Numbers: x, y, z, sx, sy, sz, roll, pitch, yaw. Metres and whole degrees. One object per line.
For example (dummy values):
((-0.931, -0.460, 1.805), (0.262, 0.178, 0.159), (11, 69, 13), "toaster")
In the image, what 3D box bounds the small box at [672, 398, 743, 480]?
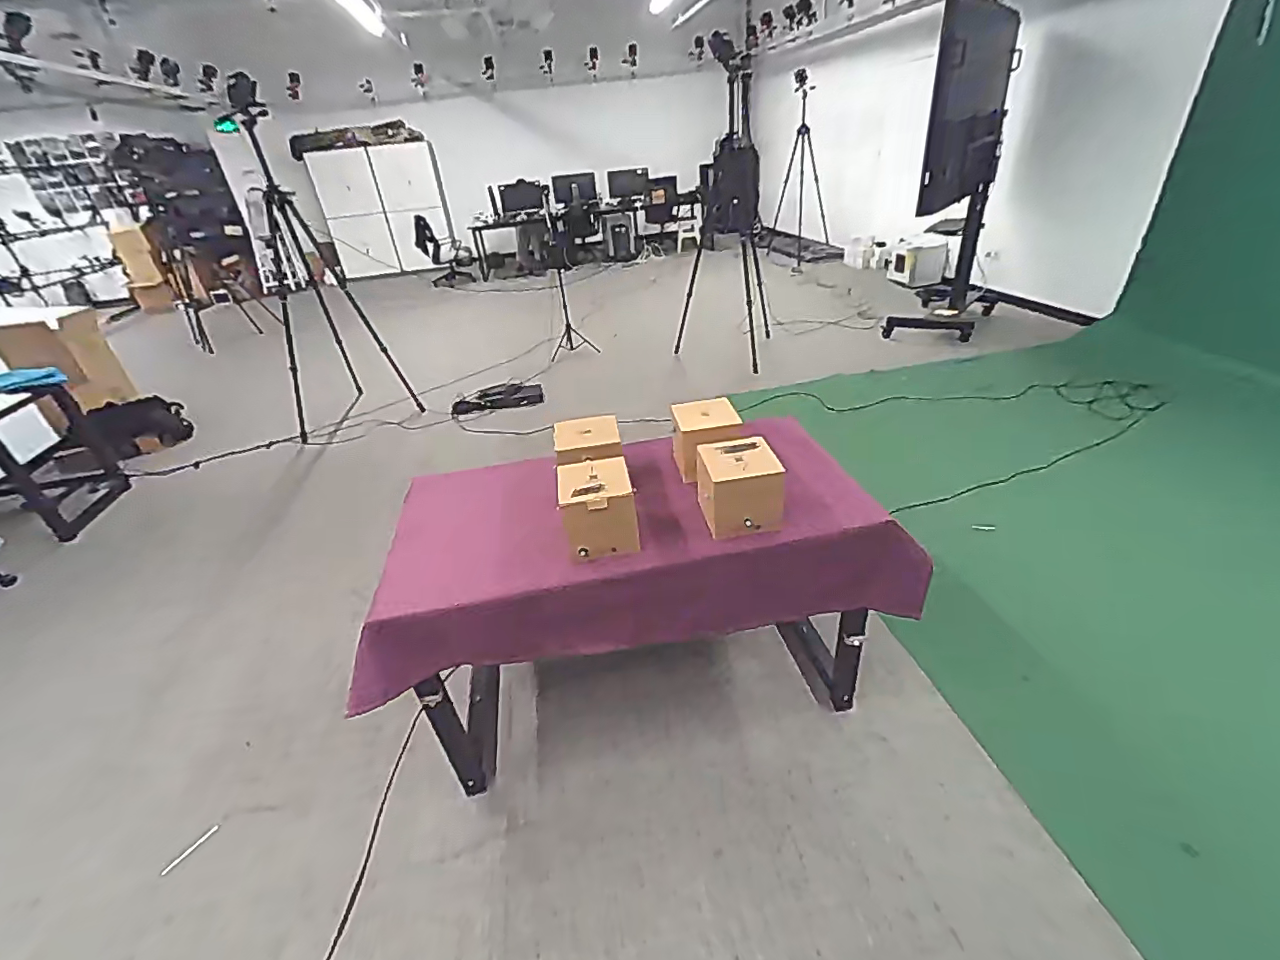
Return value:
((0.191, -0.111, 1.522), (0.168, 0.176, 0.179), (-9, 31, -2), "small box")

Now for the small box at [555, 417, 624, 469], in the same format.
((-0.131, -0.054, 1.498), (0.179, 0.176, 0.168), (-8, 32, -3), "small box")

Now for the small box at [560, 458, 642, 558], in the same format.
((-0.094, 0.071, 1.285), (0.168, 0.176, 0.179), (-9, 30, -4), "small box")
